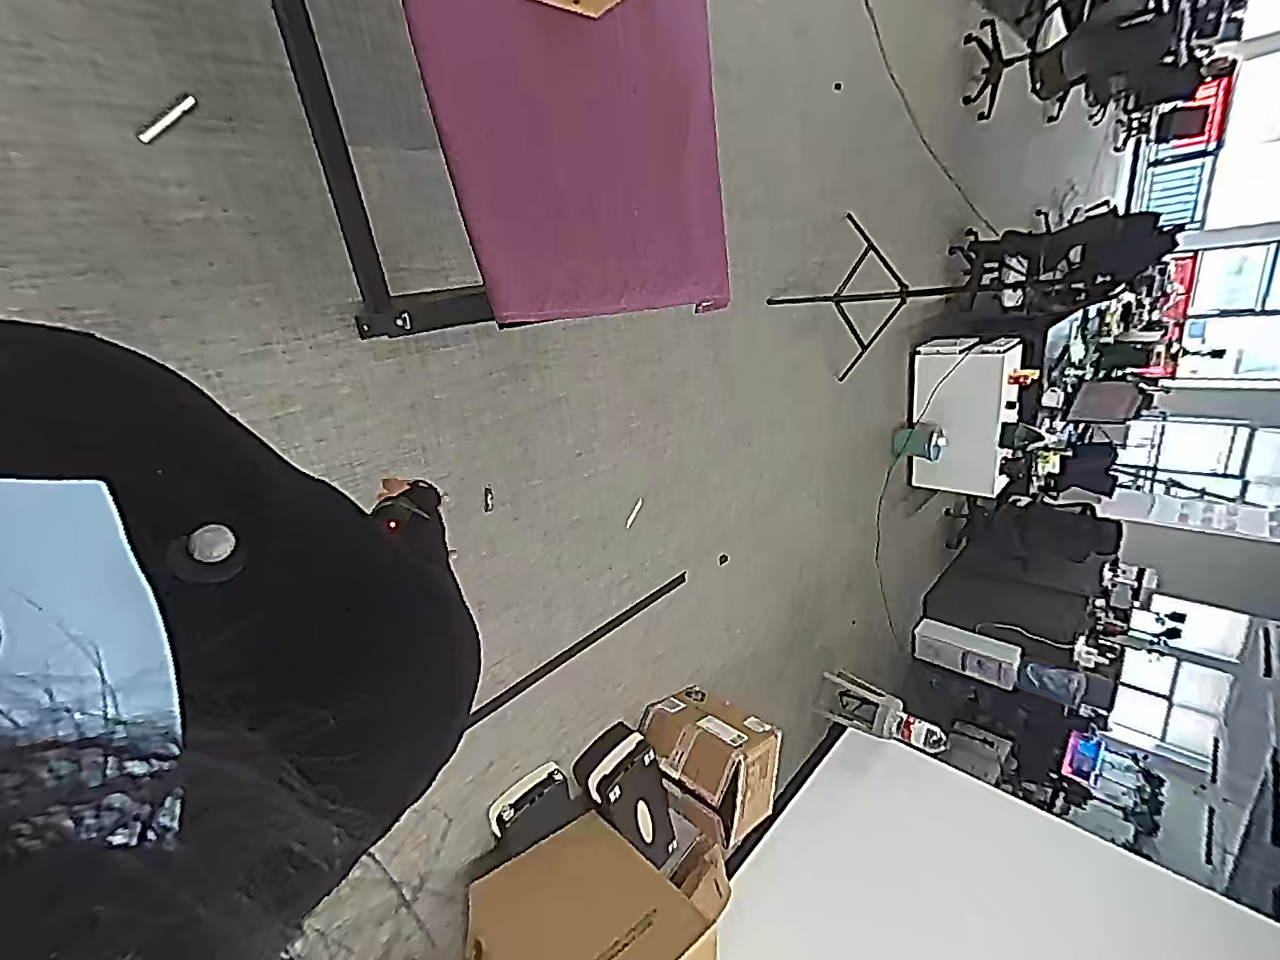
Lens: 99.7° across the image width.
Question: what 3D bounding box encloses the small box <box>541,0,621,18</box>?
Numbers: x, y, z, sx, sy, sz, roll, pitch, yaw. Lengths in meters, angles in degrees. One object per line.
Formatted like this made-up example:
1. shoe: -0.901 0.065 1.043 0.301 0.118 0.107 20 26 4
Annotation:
1. small box: -0.084 -0.810 0.771 0.168 0.176 0.179 -24 114 -39
